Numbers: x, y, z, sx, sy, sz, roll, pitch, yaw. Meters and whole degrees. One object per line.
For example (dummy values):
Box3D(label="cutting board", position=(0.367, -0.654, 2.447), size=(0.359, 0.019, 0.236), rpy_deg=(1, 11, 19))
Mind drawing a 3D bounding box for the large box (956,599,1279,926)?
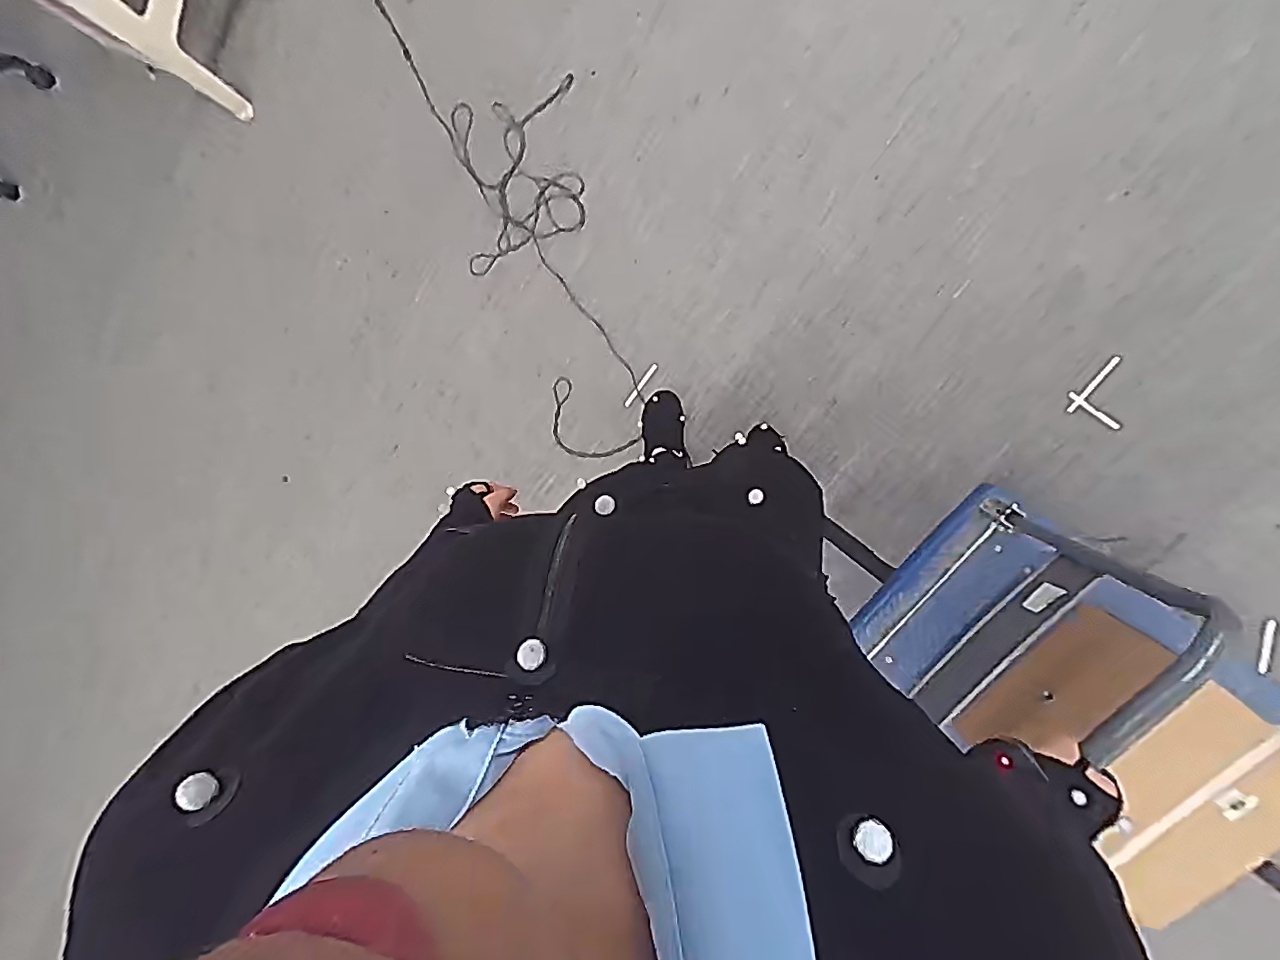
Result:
Box3D(label="large box", position=(0.931, 0.518, 1.059), size=(0.320, 0.320, 0.408), rpy_deg=(38, 103, 3))
